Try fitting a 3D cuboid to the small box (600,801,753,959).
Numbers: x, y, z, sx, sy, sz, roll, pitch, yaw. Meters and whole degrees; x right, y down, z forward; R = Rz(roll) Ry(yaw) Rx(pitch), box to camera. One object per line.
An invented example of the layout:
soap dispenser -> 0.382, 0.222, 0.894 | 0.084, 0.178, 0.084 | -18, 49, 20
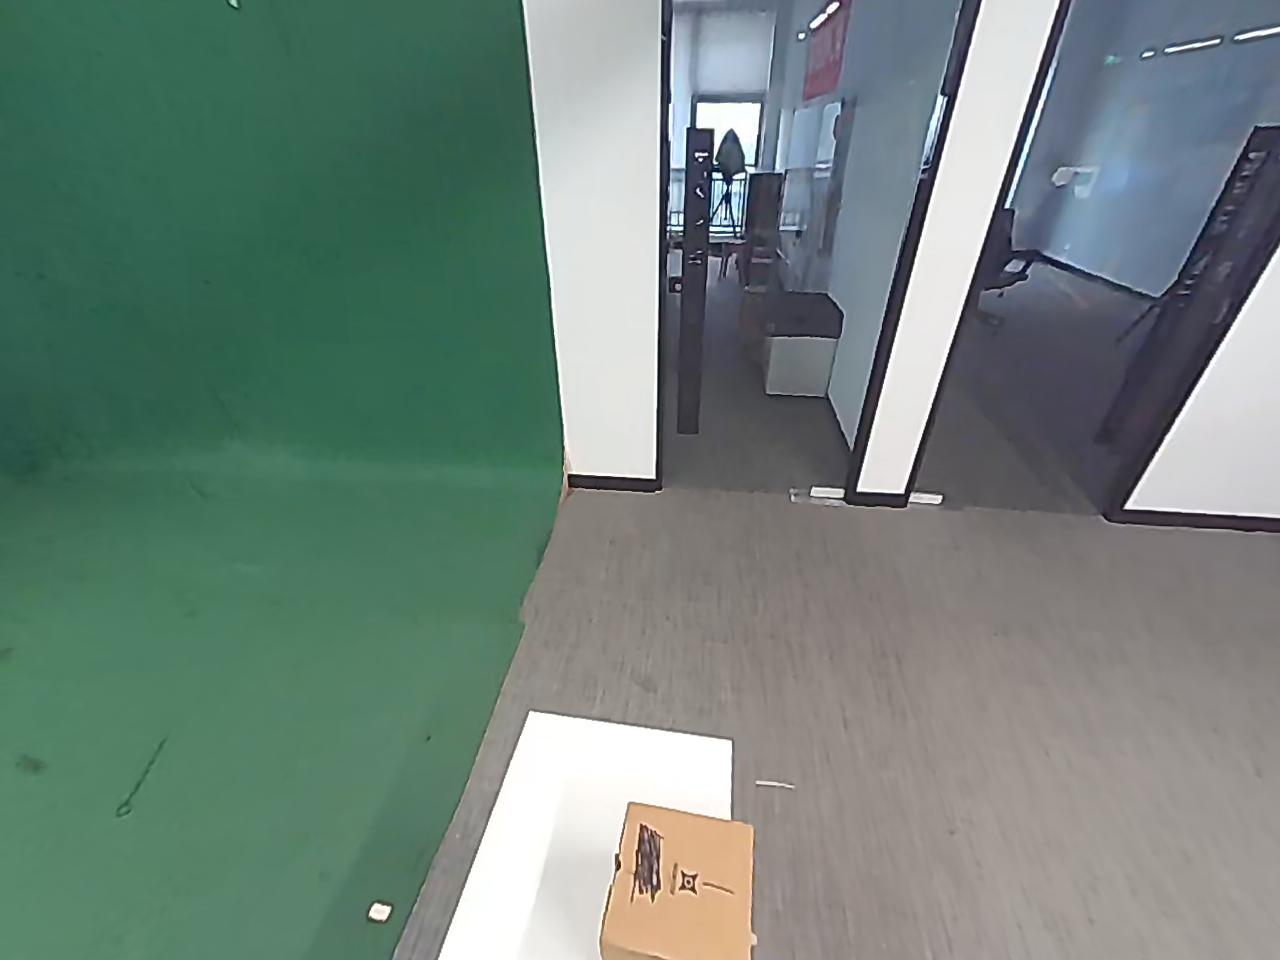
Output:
small box -> 0.054, 0.574, 0.729 | 0.179, 0.176, 0.168 | 6, 33, 10
